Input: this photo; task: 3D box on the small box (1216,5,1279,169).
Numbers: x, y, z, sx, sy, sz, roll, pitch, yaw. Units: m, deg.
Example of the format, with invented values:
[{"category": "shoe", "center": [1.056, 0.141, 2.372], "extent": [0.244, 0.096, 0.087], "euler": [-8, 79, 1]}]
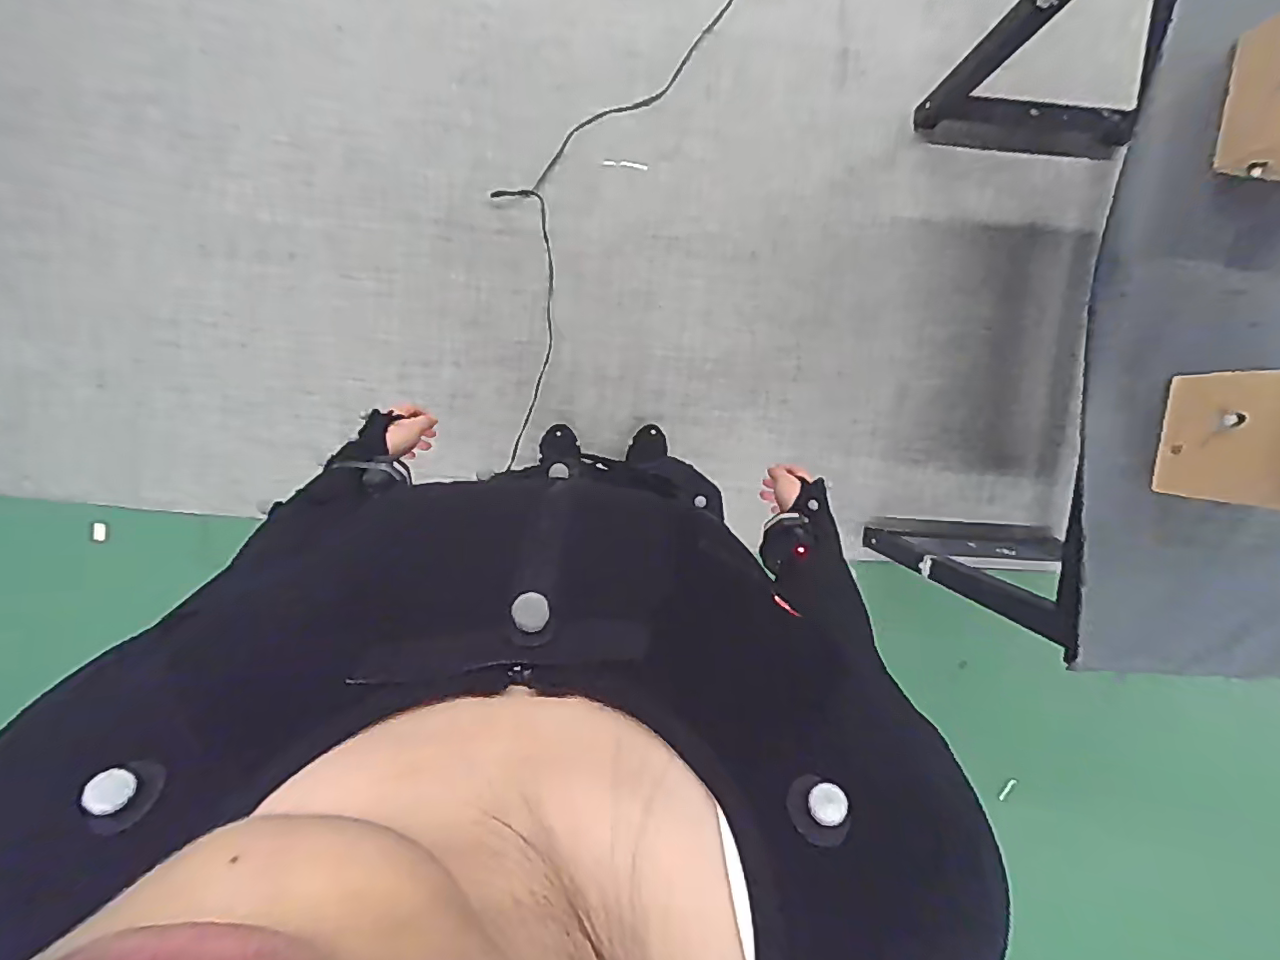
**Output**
[{"category": "small box", "center": [0.870, -0.498, 0.653], "extent": [0.168, 0.176, 0.179], "euler": [5, 96, -4]}]

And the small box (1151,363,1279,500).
[{"category": "small box", "center": [0.833, -0.057, 0.706], "extent": [0.179, 0.176, 0.168], "euler": [4, 97, -5]}]
